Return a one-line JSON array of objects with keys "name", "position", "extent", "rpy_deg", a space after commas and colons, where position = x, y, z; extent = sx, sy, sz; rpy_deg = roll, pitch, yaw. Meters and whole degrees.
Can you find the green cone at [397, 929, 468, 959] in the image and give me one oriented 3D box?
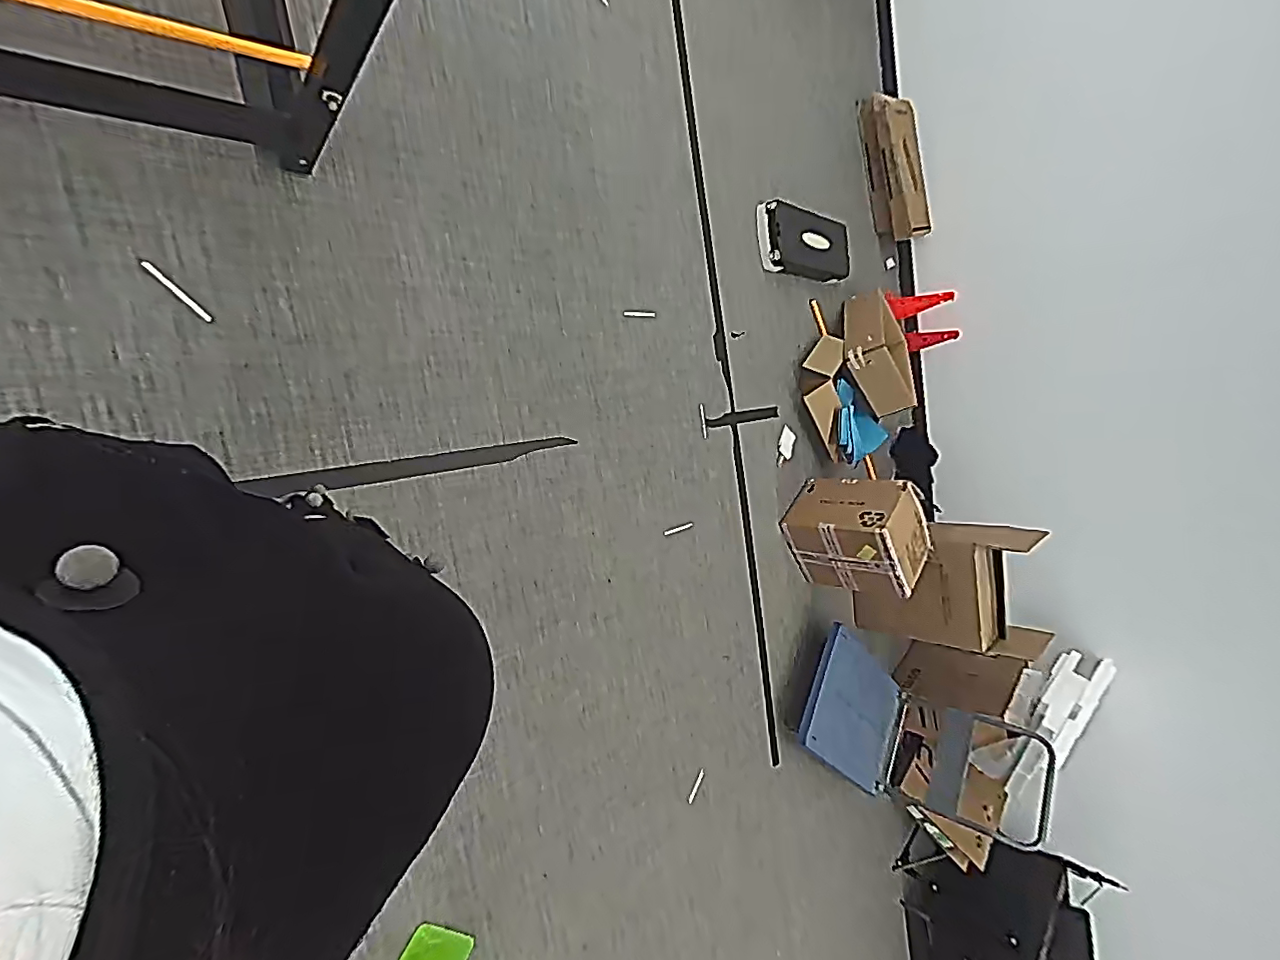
[{"name": "green cone", "position": [-0.440, 1.270, 1.253], "extent": [0.200, 0.368, 0.202], "rpy_deg": [49, 57, -32]}]
